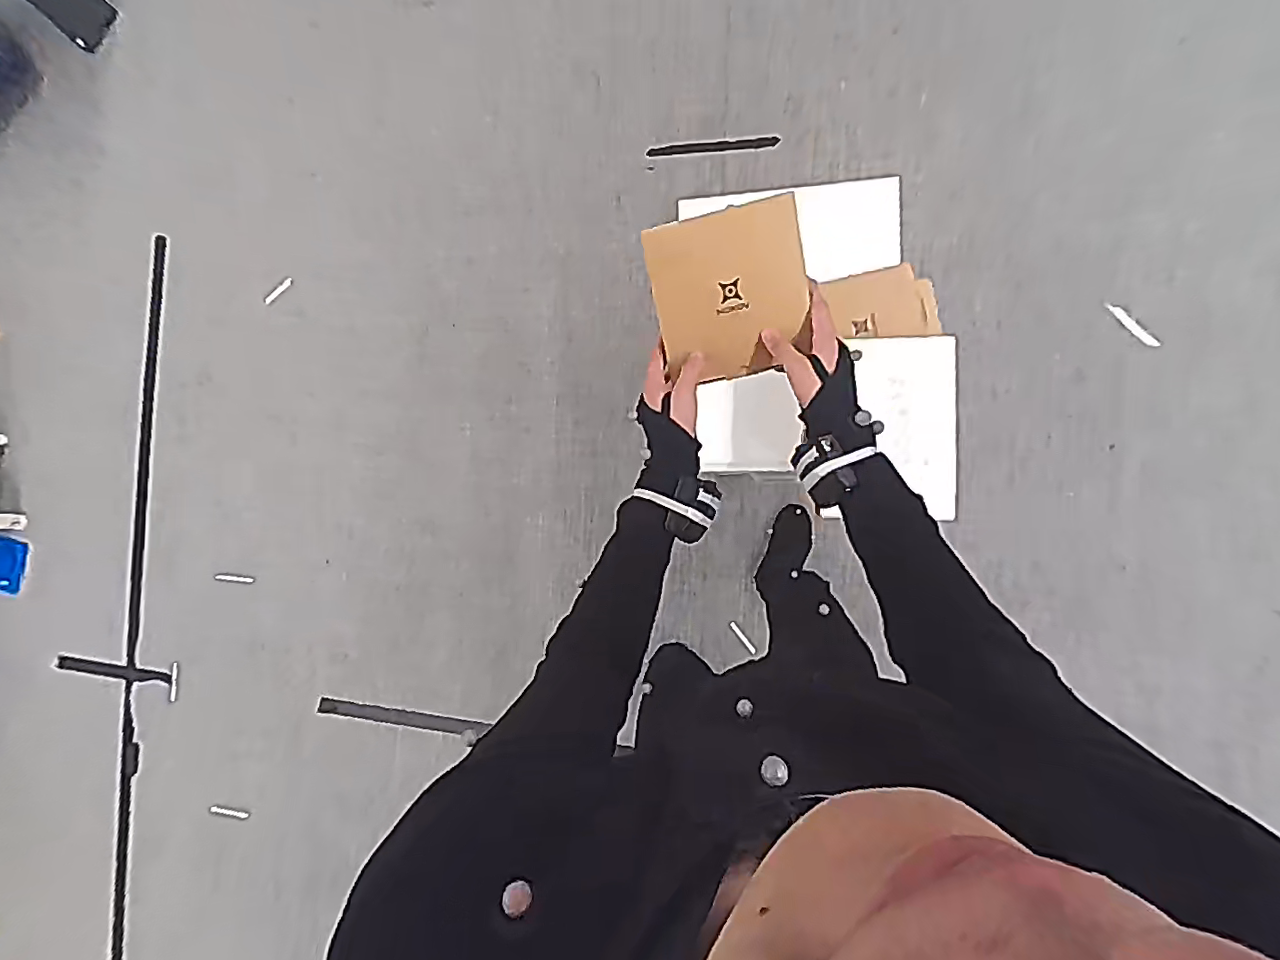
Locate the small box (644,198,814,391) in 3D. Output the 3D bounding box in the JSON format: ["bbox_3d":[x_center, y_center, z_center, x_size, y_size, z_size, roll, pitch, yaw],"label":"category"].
[{"bbox_3d":[0.103,-0.217,0.665,0.168,0.176,0.179,-11,105,7],"label":"small box"}]
